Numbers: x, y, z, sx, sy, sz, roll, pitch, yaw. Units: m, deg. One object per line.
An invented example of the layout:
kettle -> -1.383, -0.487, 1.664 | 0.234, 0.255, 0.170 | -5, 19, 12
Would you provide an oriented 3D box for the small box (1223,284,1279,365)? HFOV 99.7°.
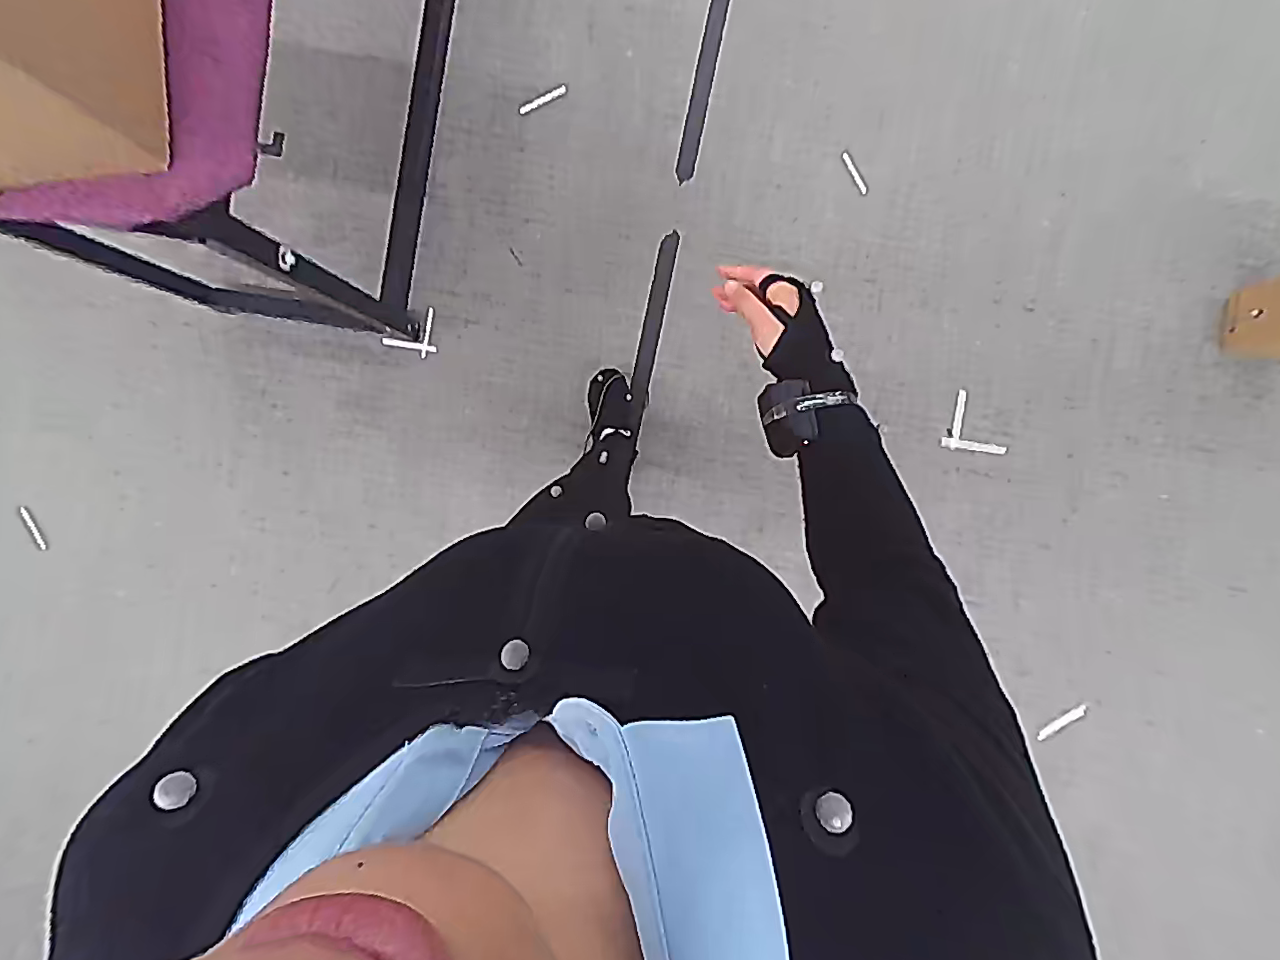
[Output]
small box -> 1.626, -0.388, 1.345 | 0.179, 0.176, 0.168 | 7, 92, 1
